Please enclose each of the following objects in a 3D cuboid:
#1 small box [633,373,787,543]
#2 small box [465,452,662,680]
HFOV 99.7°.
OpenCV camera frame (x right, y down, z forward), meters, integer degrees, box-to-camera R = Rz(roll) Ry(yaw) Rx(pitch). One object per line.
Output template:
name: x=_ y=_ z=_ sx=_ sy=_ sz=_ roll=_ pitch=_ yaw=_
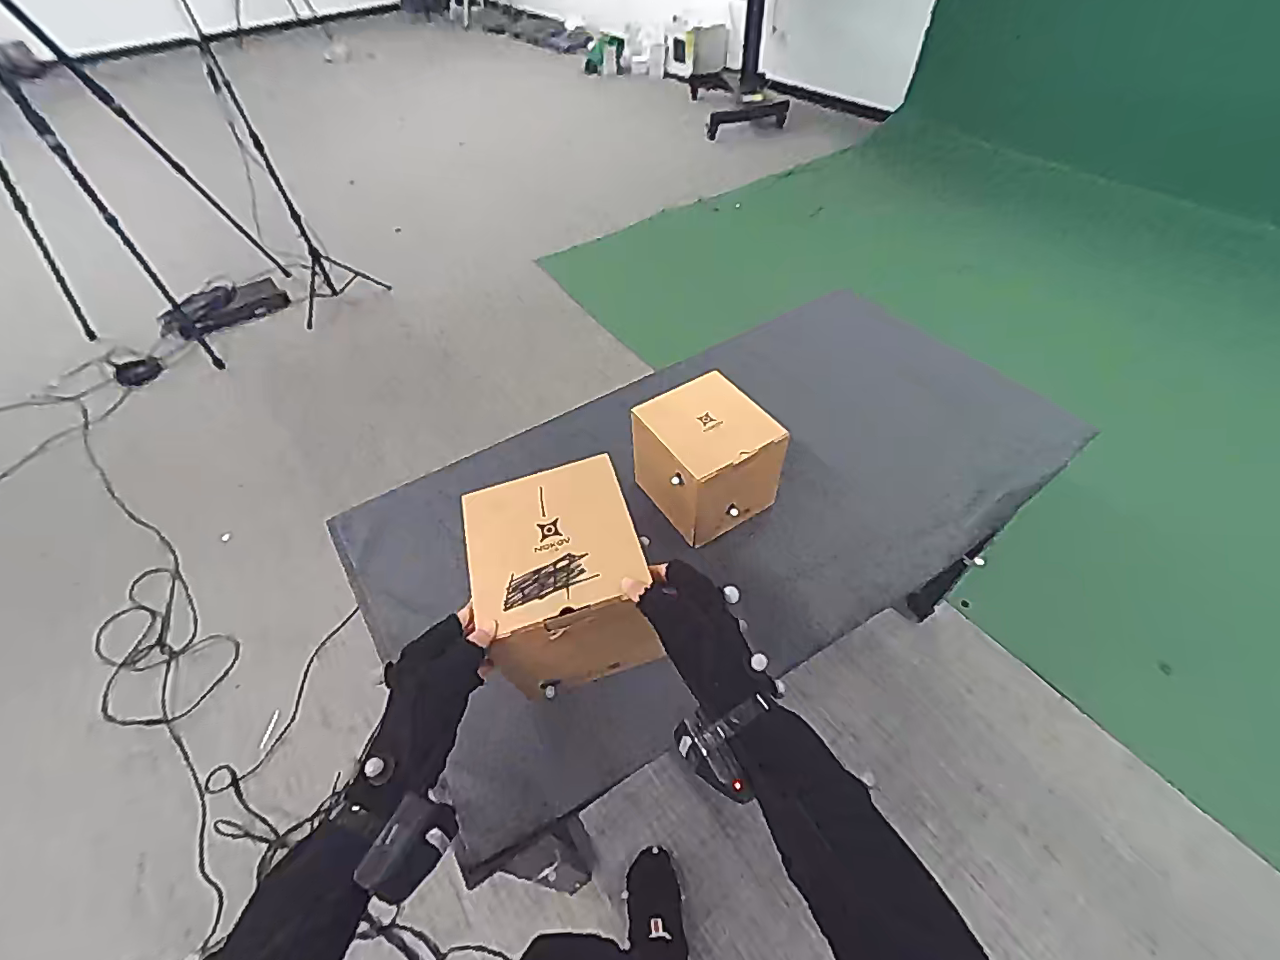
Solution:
small box: x=0.102 y=-0.034 z=0.859 sx=0.168 sy=0.176 sz=0.179 roll=-27 pitch=54 yaw=-19
small box: x=-0.080 y=0.103 z=0.603 sx=0.168 sy=0.176 sz=0.179 roll=-17 pitch=51 yaw=-5
